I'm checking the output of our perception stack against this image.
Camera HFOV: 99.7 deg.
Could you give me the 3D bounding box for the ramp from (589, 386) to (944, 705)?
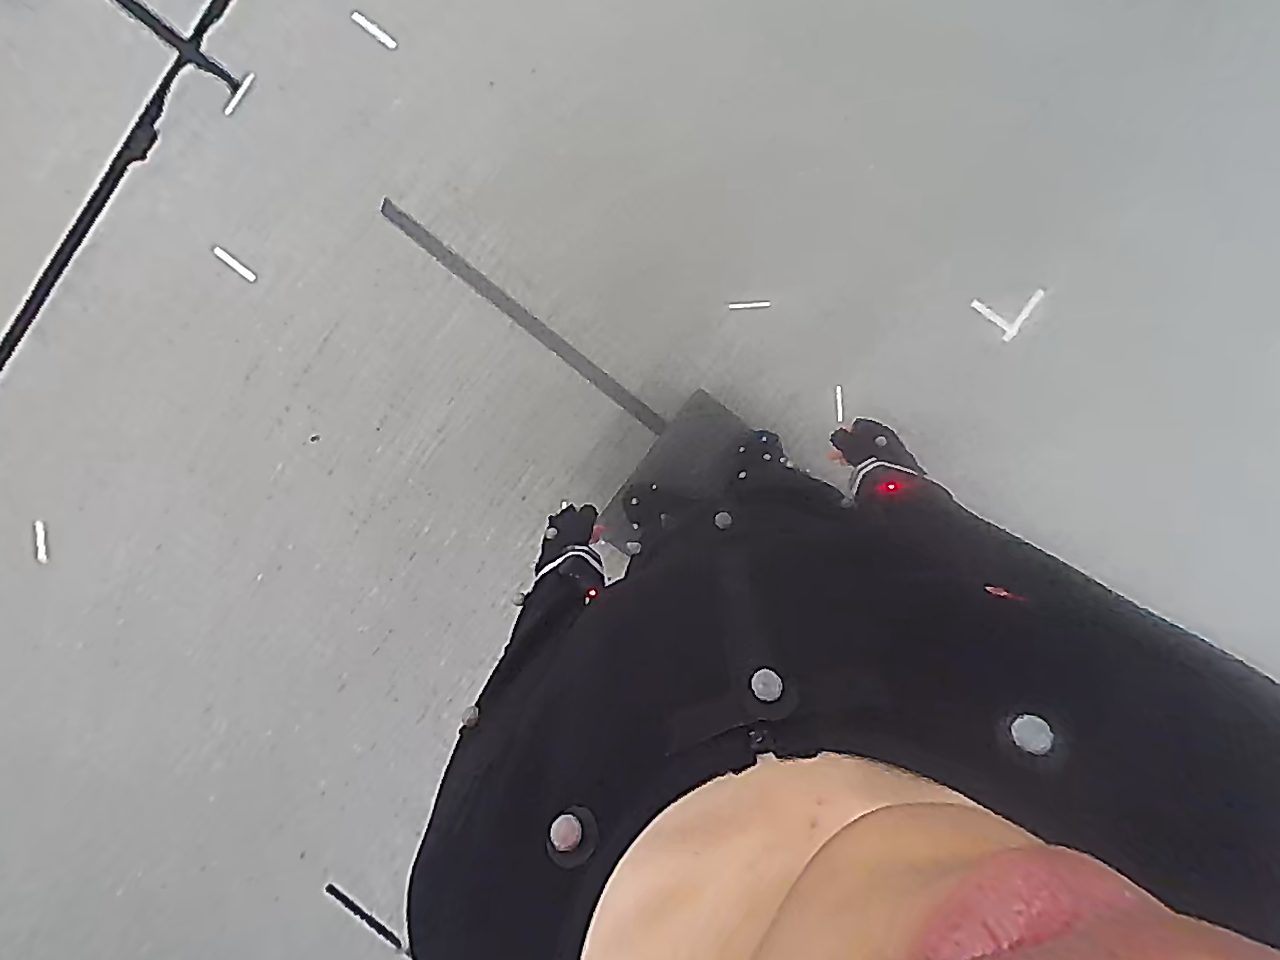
[{"bbox_3d":[0.393,0.220,1.560,0.991,0.206,0.509,35,93,-1],"label":"ramp"}]
